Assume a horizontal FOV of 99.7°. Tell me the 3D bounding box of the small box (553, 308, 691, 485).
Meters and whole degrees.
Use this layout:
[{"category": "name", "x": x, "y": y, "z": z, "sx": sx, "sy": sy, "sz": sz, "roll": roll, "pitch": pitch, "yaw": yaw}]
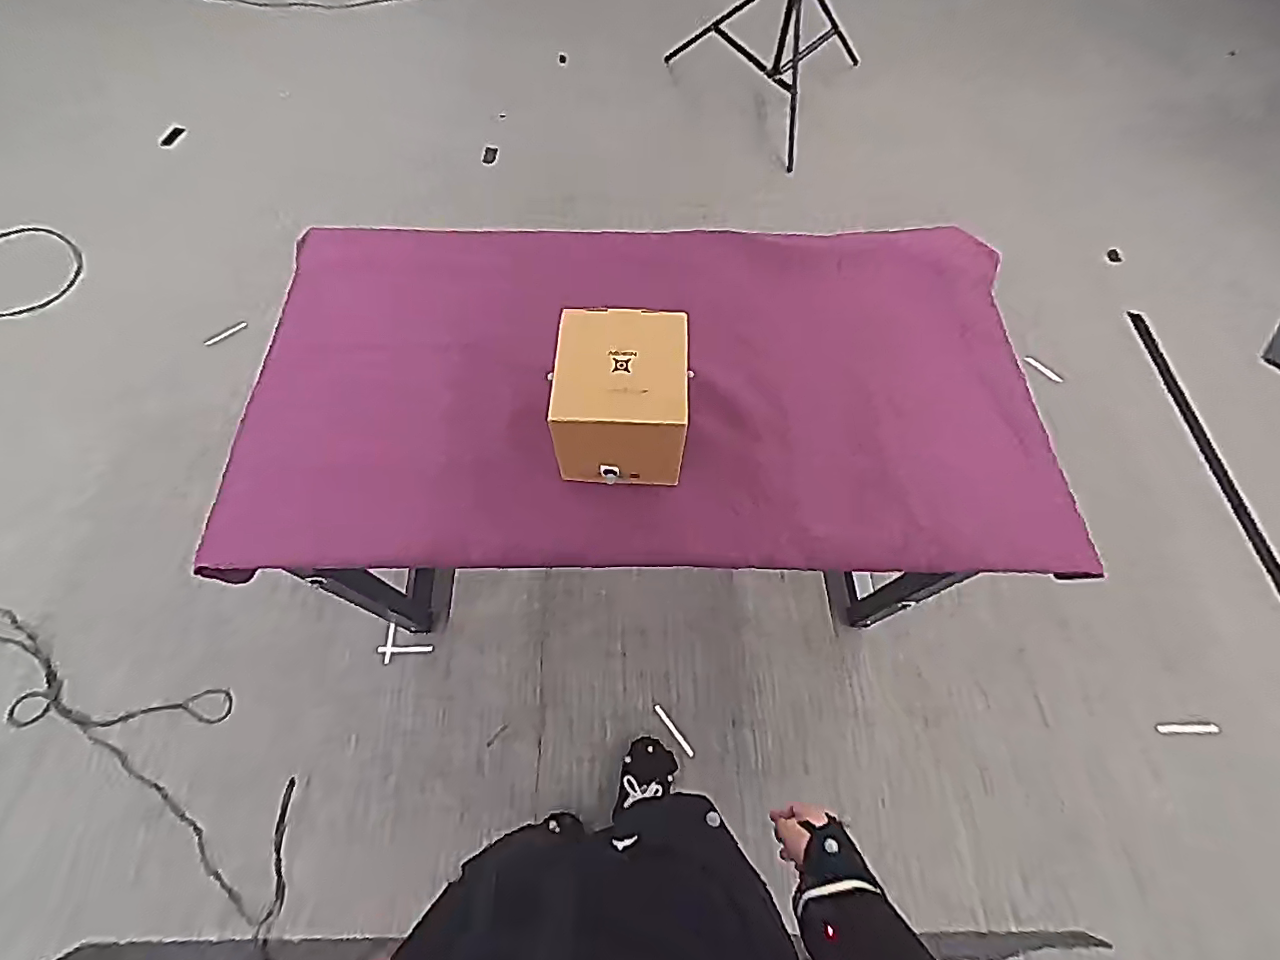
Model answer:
[{"category": "small box", "x": -0.021, "y": -0.110, "z": 0.742, "sx": 0.168, "sy": 0.176, "sz": 0.179, "roll": 2, "pitch": 64, "yaw": 0}]
